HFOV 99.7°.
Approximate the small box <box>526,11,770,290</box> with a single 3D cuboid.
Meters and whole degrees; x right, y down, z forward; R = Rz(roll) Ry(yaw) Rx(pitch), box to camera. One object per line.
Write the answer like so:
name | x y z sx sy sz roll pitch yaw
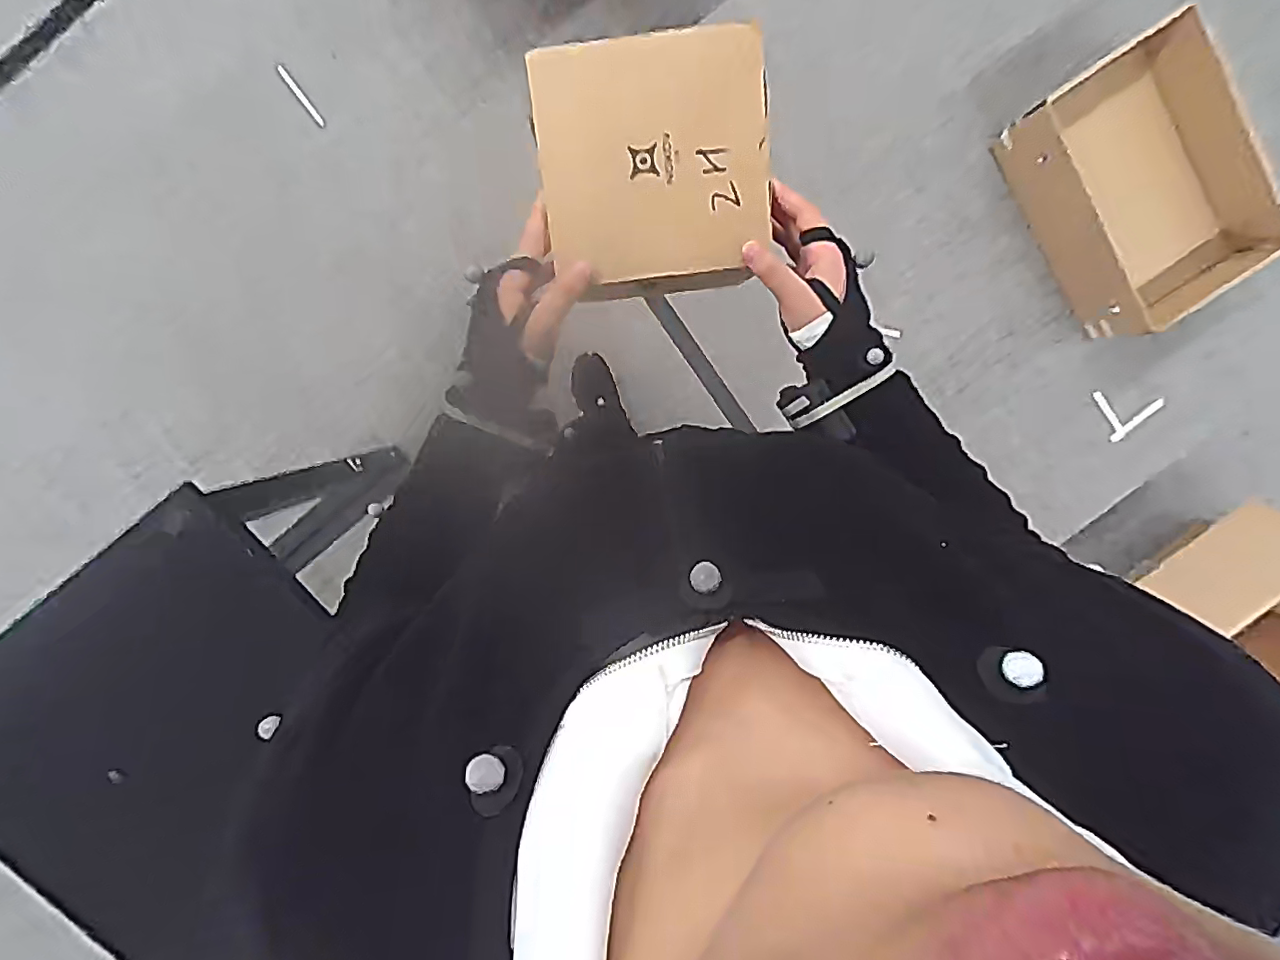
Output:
small box | 0.010 -0.272 0.490 0.179 0.176 0.168 -6 105 2
